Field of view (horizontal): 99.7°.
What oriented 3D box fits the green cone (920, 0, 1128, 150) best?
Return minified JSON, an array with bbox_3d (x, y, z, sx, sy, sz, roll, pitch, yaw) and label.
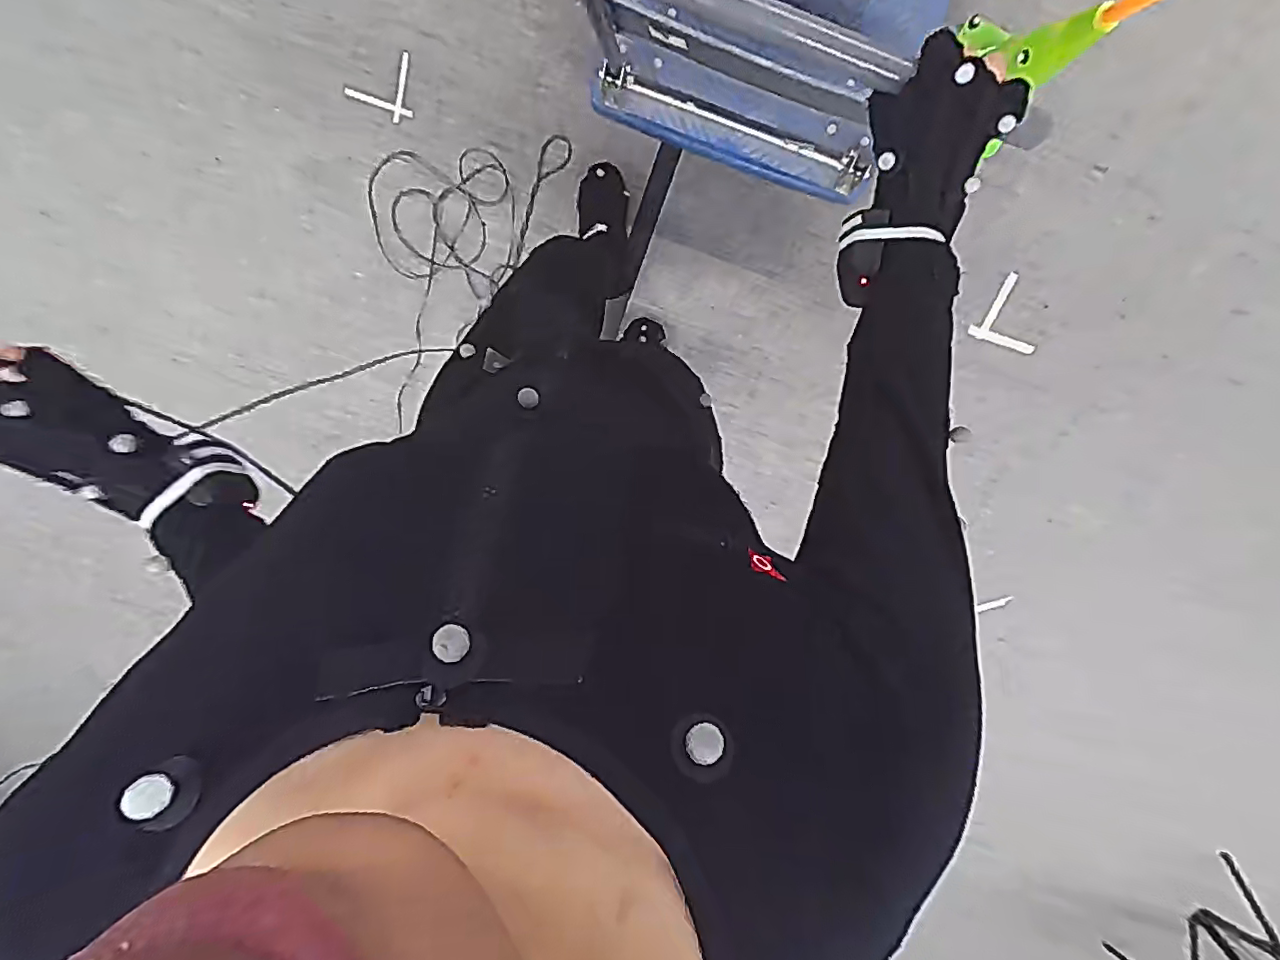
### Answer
[{"bbox_3d":[0.713,-0.770,0.977,0.202,0.368,0.200,22,111,-8],"label":"green cone"}]
